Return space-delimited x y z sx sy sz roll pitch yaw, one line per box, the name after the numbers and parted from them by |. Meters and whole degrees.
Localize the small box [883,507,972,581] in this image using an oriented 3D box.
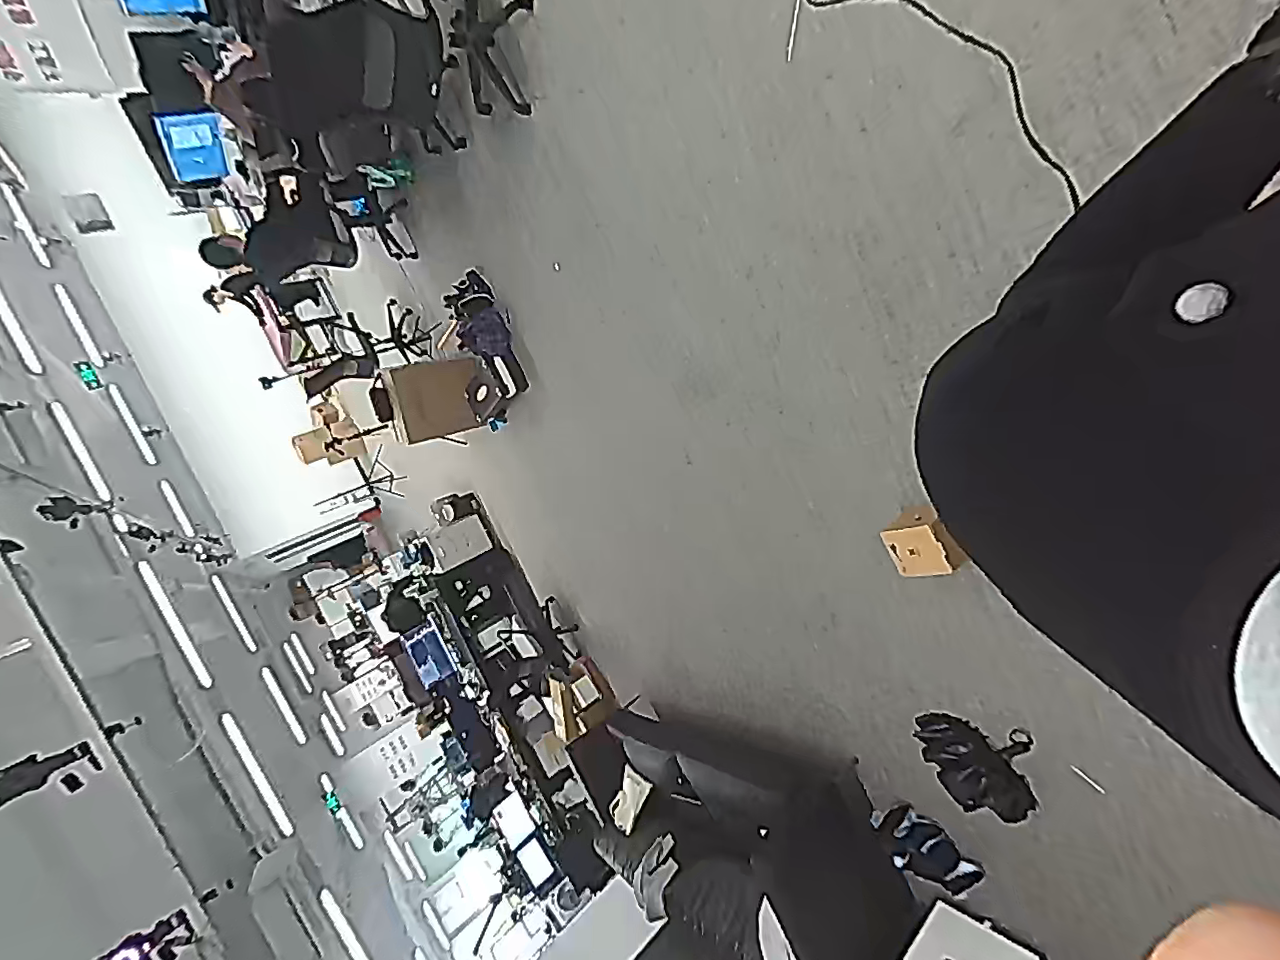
0.918 0.201 1.713 0.179 0.176 0.168 -25 94 58 | small box
